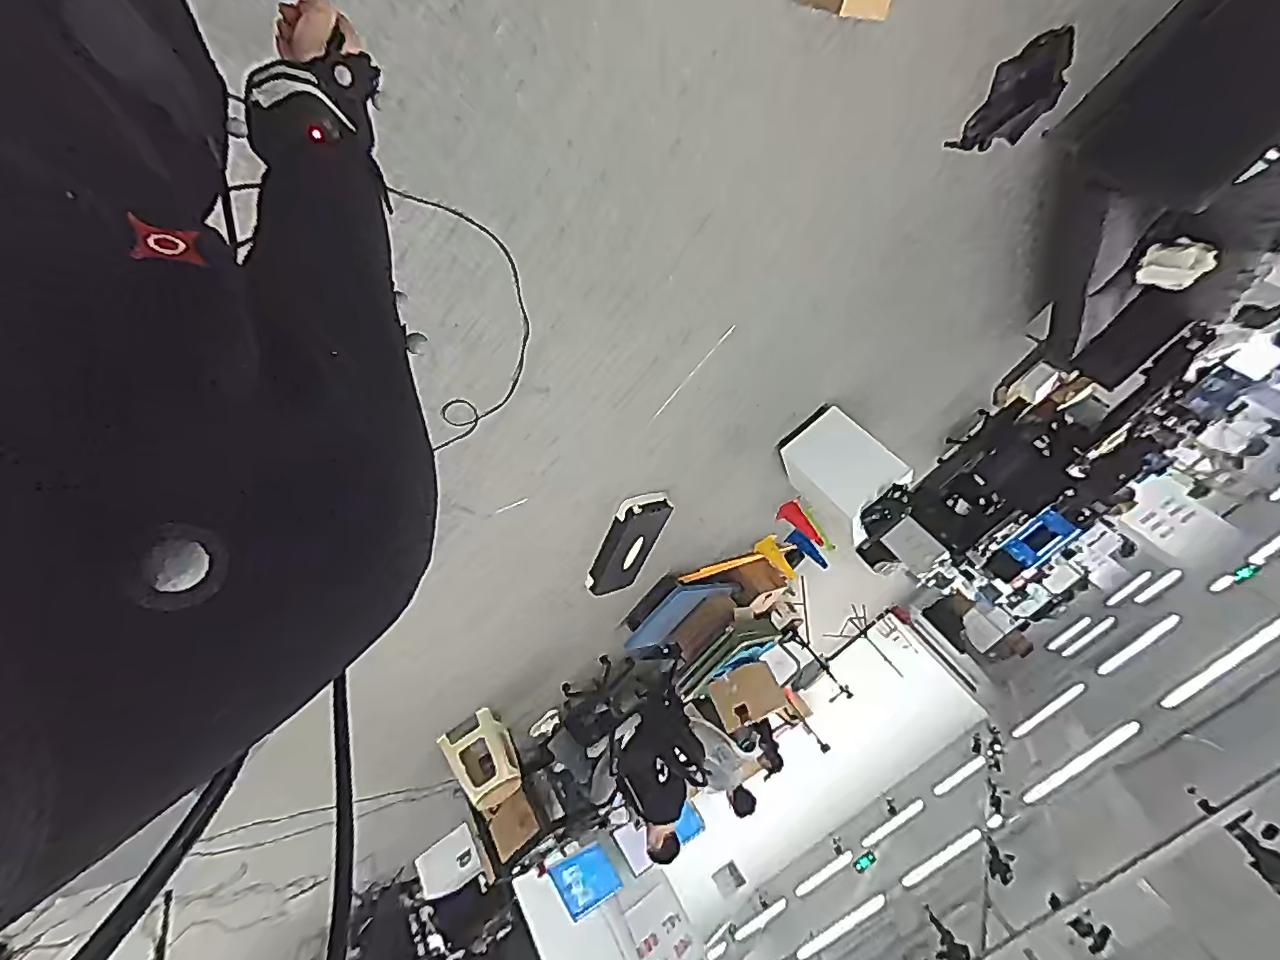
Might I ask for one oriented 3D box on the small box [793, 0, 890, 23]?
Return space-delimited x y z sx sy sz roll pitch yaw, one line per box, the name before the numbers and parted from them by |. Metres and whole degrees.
small box | 0.508 -1.236 1.309 0.179 0.176 0.168 -21 144 -26
